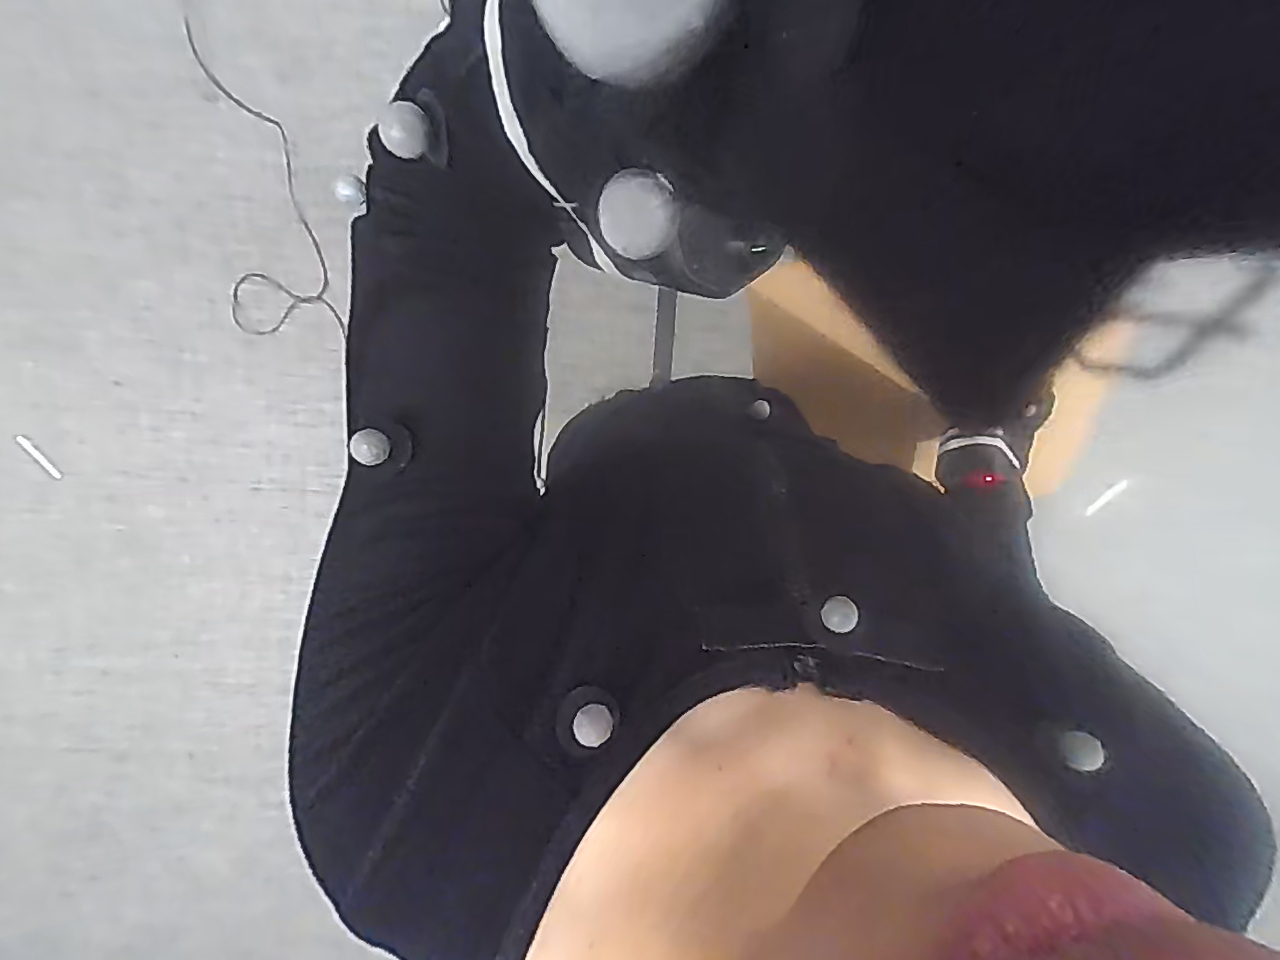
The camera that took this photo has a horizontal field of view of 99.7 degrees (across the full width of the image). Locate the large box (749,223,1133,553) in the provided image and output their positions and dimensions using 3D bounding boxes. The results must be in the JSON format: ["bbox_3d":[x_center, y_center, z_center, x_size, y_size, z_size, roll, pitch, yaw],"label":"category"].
[{"bbox_3d":[0.412,-0.164,0.871,0.320,0.408,0.320,-23,134,-8],"label":"large box"}]
